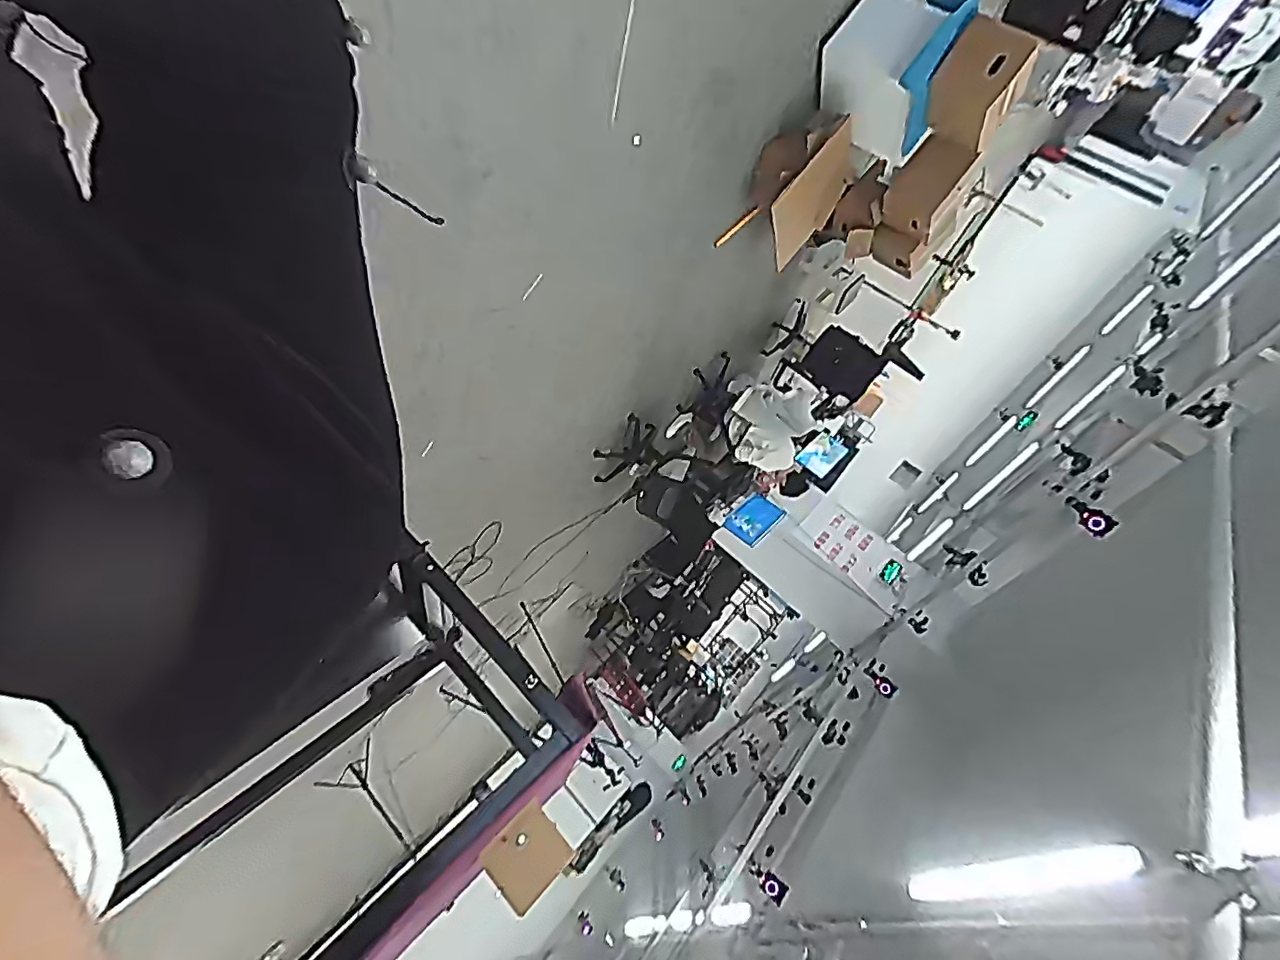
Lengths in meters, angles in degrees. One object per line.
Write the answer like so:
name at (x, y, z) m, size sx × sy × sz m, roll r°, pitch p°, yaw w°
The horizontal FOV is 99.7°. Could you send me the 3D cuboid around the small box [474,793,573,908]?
small box at (-0.293, 0.912, 1.338) m, size 0.168 × 0.176 × 0.179 m, roll -35°, pitch 159°, yaw -36°
